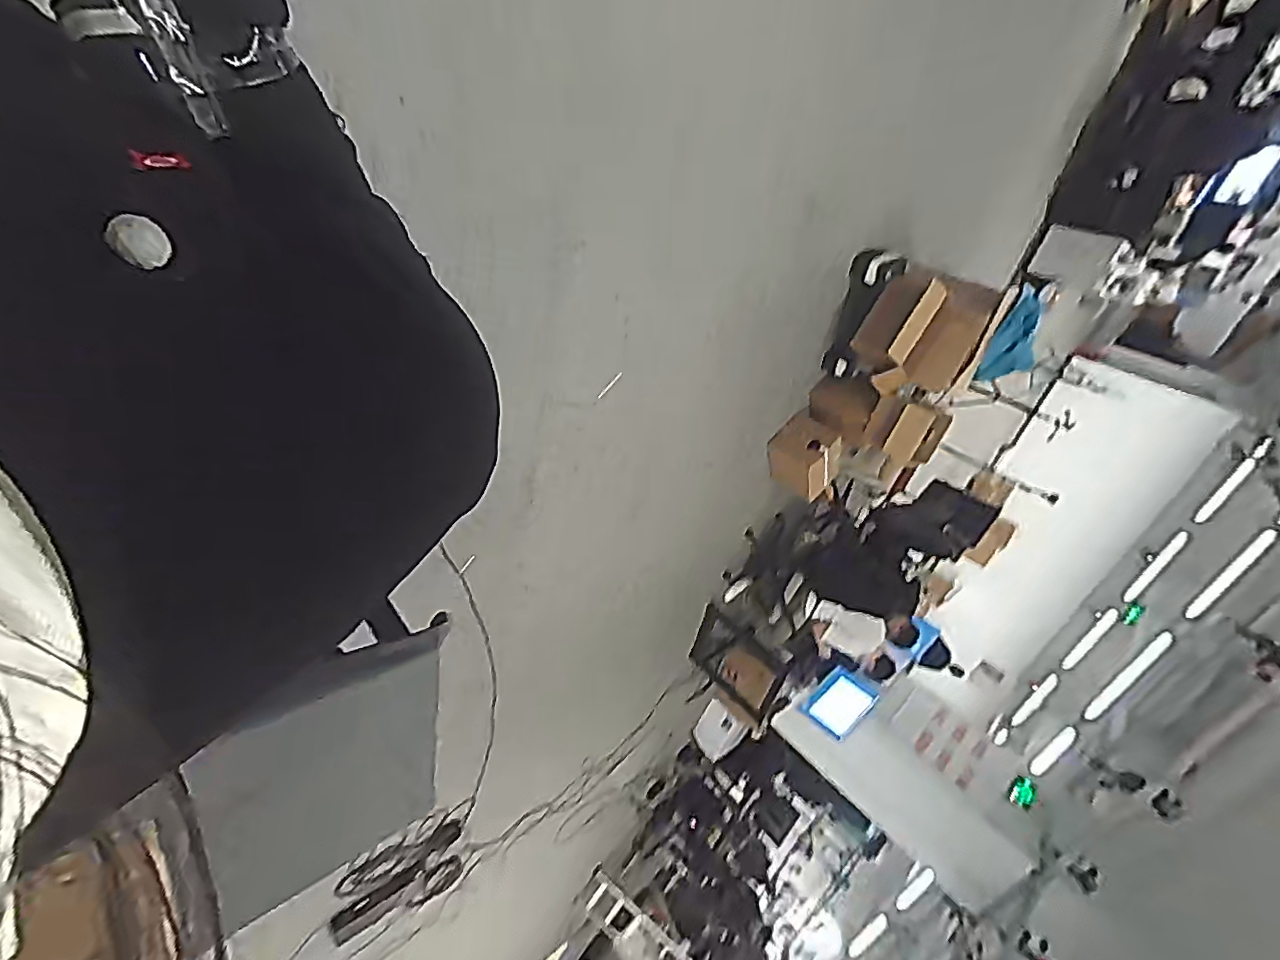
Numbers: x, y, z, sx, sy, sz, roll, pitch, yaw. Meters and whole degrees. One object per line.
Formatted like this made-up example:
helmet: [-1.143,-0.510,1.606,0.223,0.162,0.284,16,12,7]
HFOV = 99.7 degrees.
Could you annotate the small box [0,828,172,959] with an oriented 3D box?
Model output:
small box: [-0.787,0.644,0.755,0.179,0.176,0.168,-15,132,-42]

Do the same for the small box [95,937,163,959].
small box: [-0.679,0.727,0.665,0.168,0.176,0.179,-17,132,-43]
